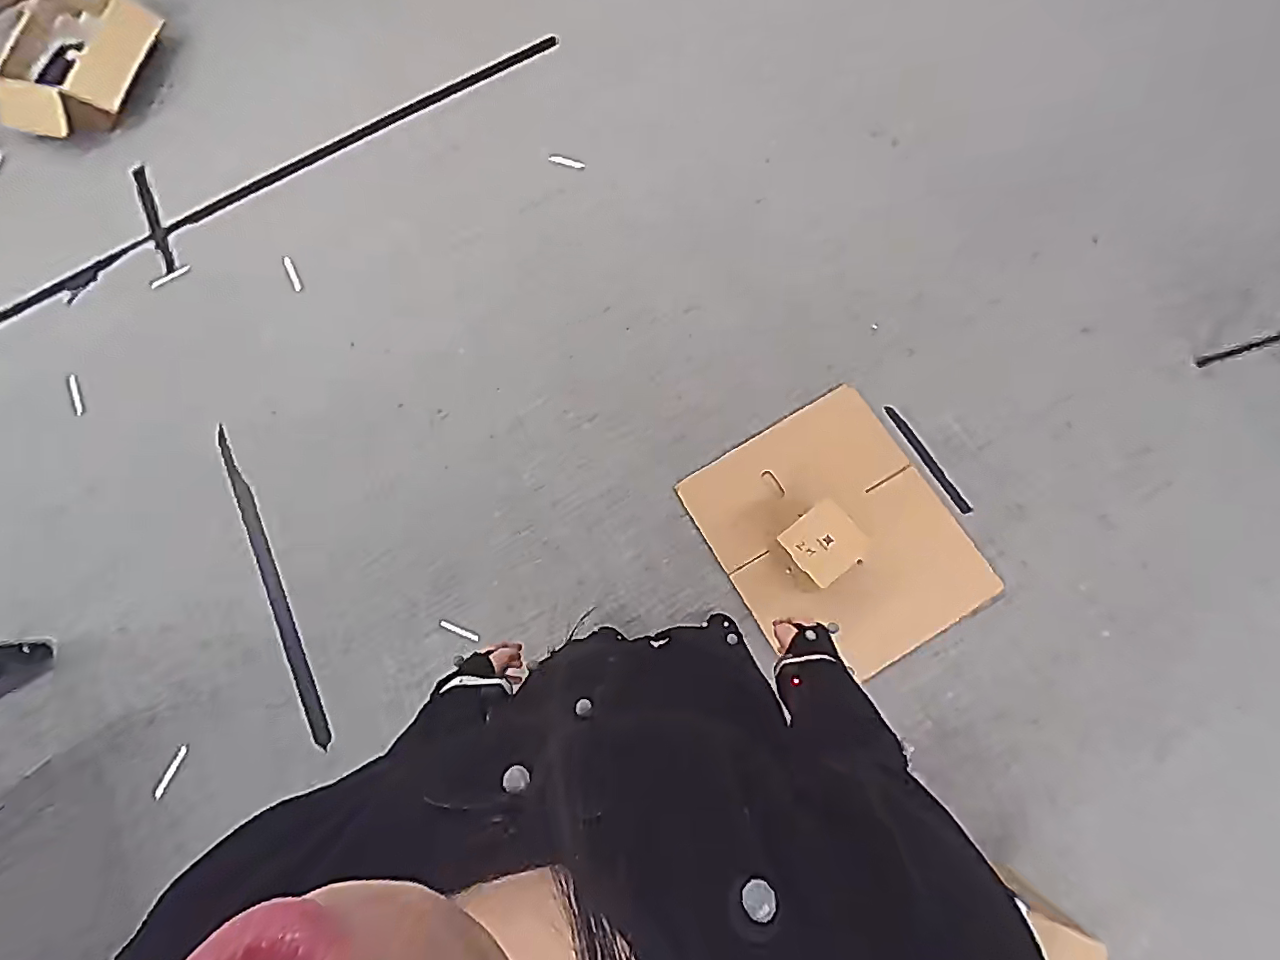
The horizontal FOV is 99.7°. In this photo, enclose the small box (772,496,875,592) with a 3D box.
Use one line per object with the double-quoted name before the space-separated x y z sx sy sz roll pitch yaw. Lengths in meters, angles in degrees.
"small box" 0.461 0.171 1.395 0.179 0.176 0.168 -38 74 -5
